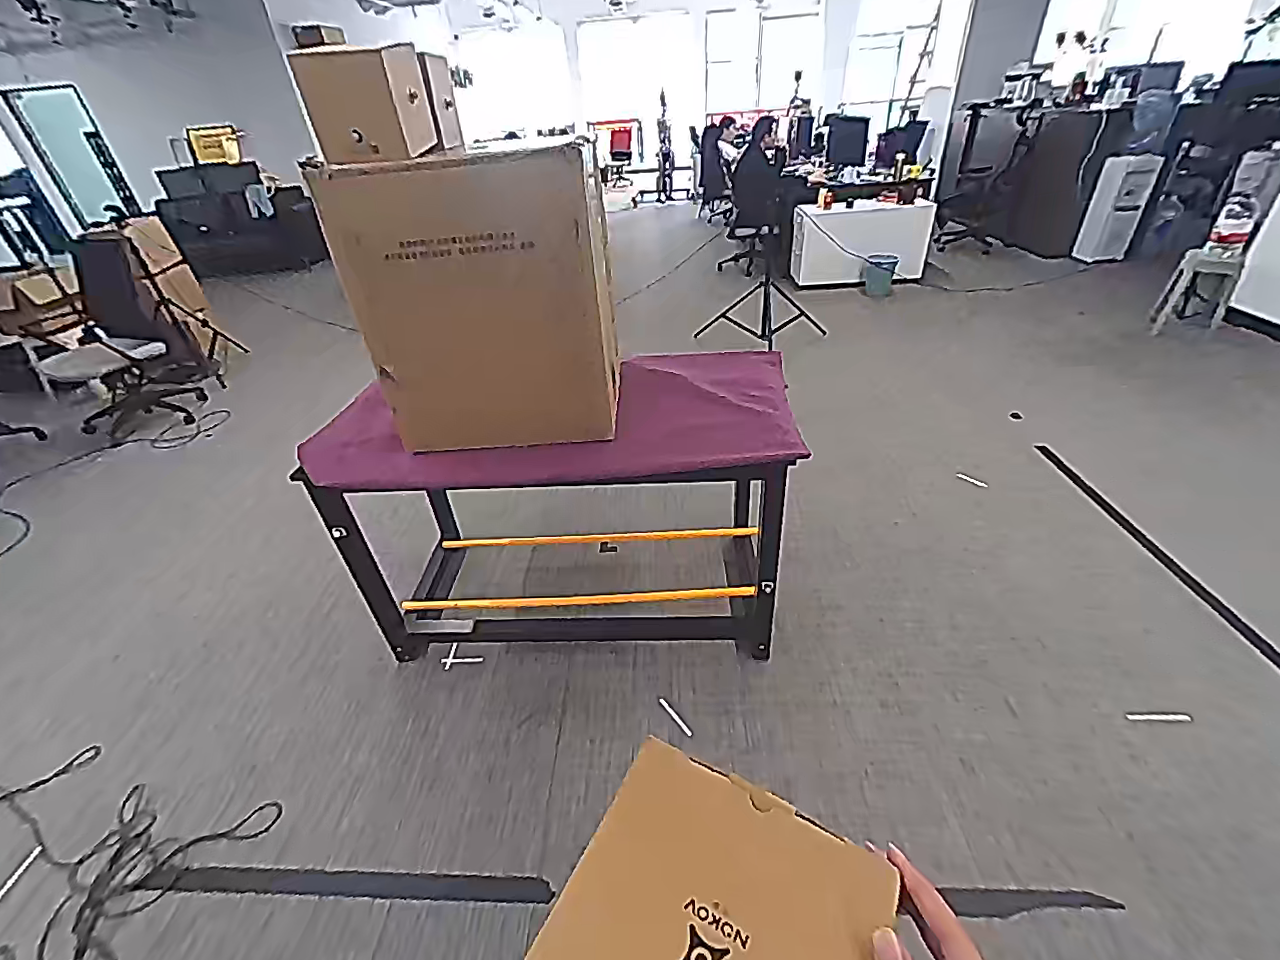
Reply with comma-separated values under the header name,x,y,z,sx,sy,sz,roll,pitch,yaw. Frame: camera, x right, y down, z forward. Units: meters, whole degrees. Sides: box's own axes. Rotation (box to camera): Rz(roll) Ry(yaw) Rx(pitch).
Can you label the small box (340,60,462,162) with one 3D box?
name,x,y,z,sx,sy,sz,roll,pitch,yaw
small box,-0.505,-0.801,1.177,0.179,0.176,0.168,-3,34,1
